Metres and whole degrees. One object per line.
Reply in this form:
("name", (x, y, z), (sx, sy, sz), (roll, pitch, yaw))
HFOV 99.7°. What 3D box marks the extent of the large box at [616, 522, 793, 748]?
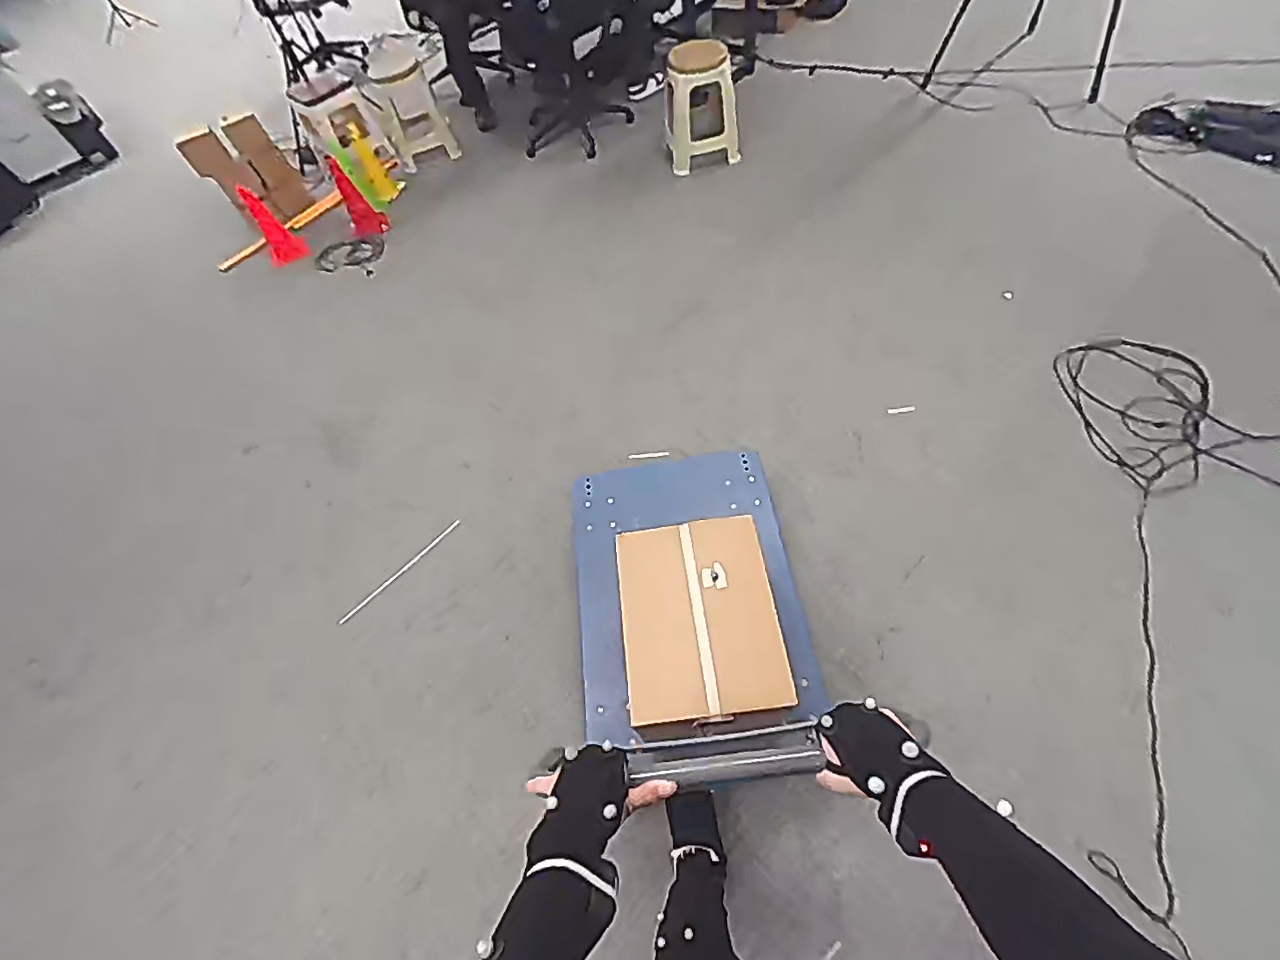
("large box", (0.136, 0.362, 1.248), (0.320, 0.320, 0.408), (-8, 56, 2))
